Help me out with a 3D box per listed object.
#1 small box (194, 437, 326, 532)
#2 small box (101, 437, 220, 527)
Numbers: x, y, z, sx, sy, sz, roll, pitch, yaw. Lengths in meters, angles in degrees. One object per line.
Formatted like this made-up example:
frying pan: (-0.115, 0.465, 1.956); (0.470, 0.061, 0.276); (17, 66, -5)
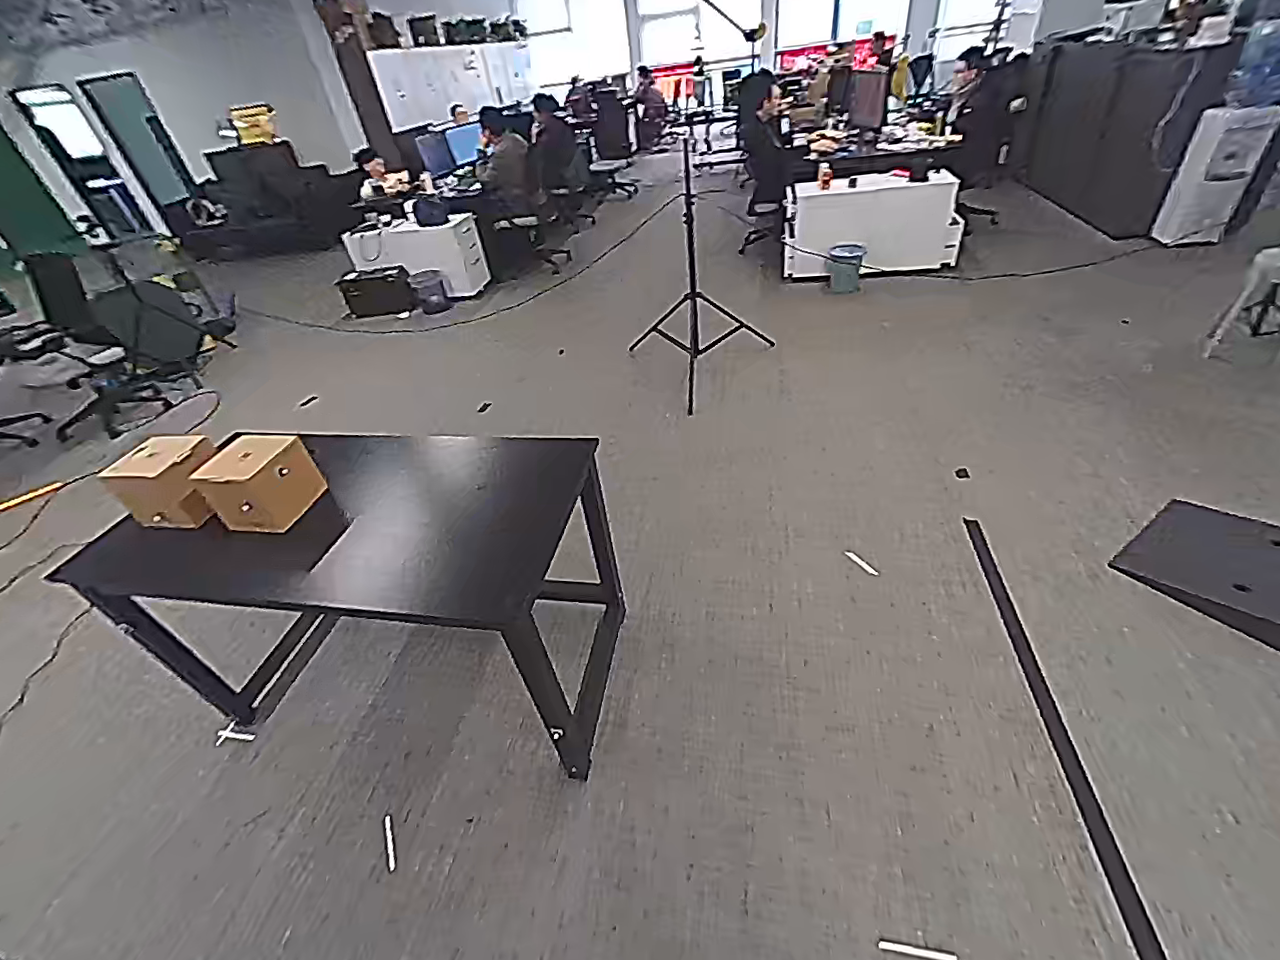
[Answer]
small box: (-0.920, 0.010, 1.331); (0.168, 0.176, 0.179); (2, 38, 11)
small box: (-1.178, 0.006, 1.379); (0.179, 0.176, 0.168); (1, 39, 10)
